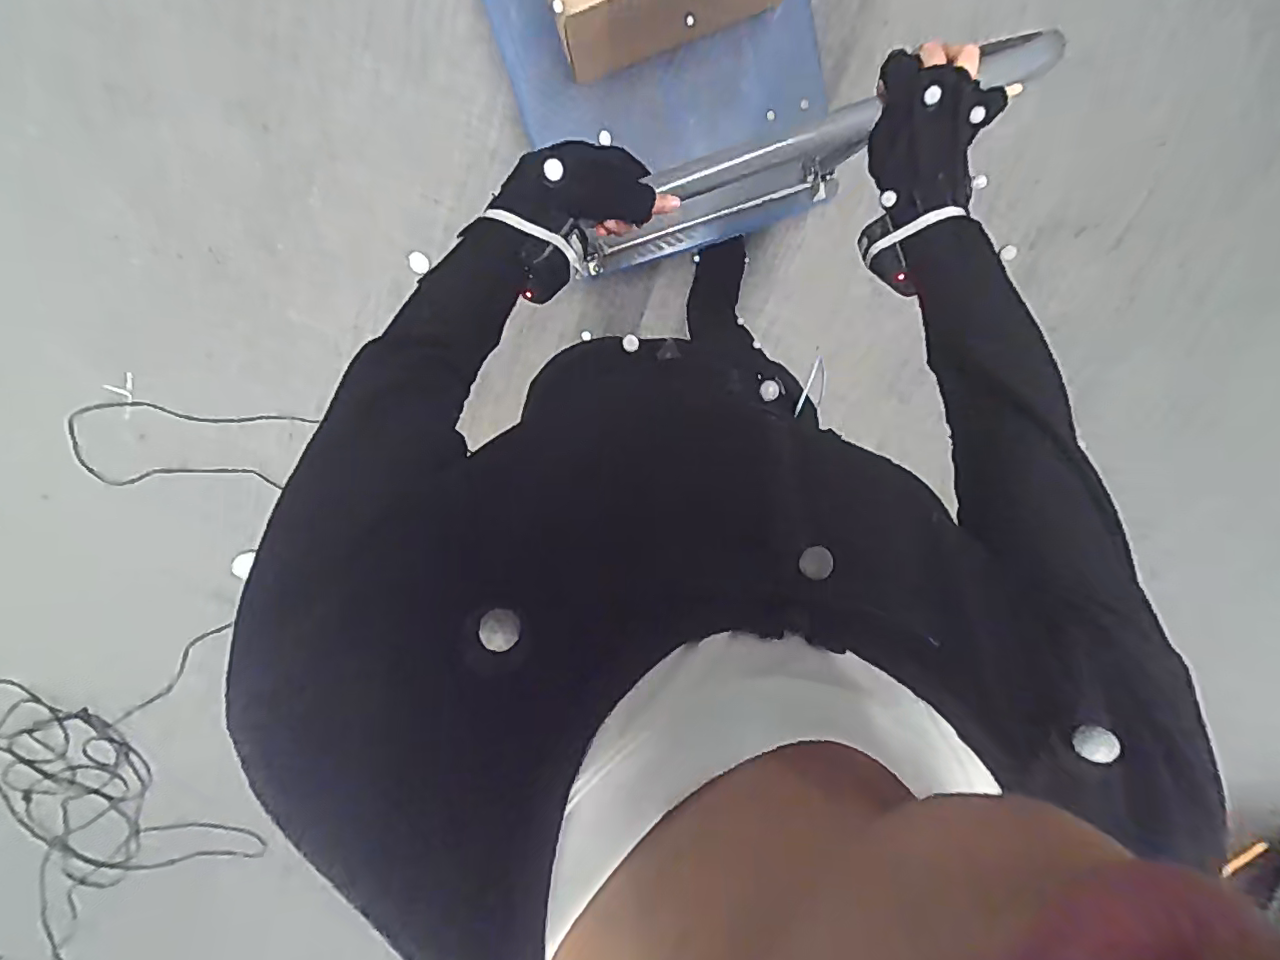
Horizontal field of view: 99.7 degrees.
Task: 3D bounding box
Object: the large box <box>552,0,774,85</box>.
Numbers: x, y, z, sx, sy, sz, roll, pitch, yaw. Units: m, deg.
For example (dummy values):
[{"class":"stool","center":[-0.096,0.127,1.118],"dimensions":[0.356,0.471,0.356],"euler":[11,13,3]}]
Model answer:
[{"class":"large box","center":[0.027,-0.897,0.830],"dimensions":[0.408,0.320,0.320],"euler":[-19,110,6]}]
